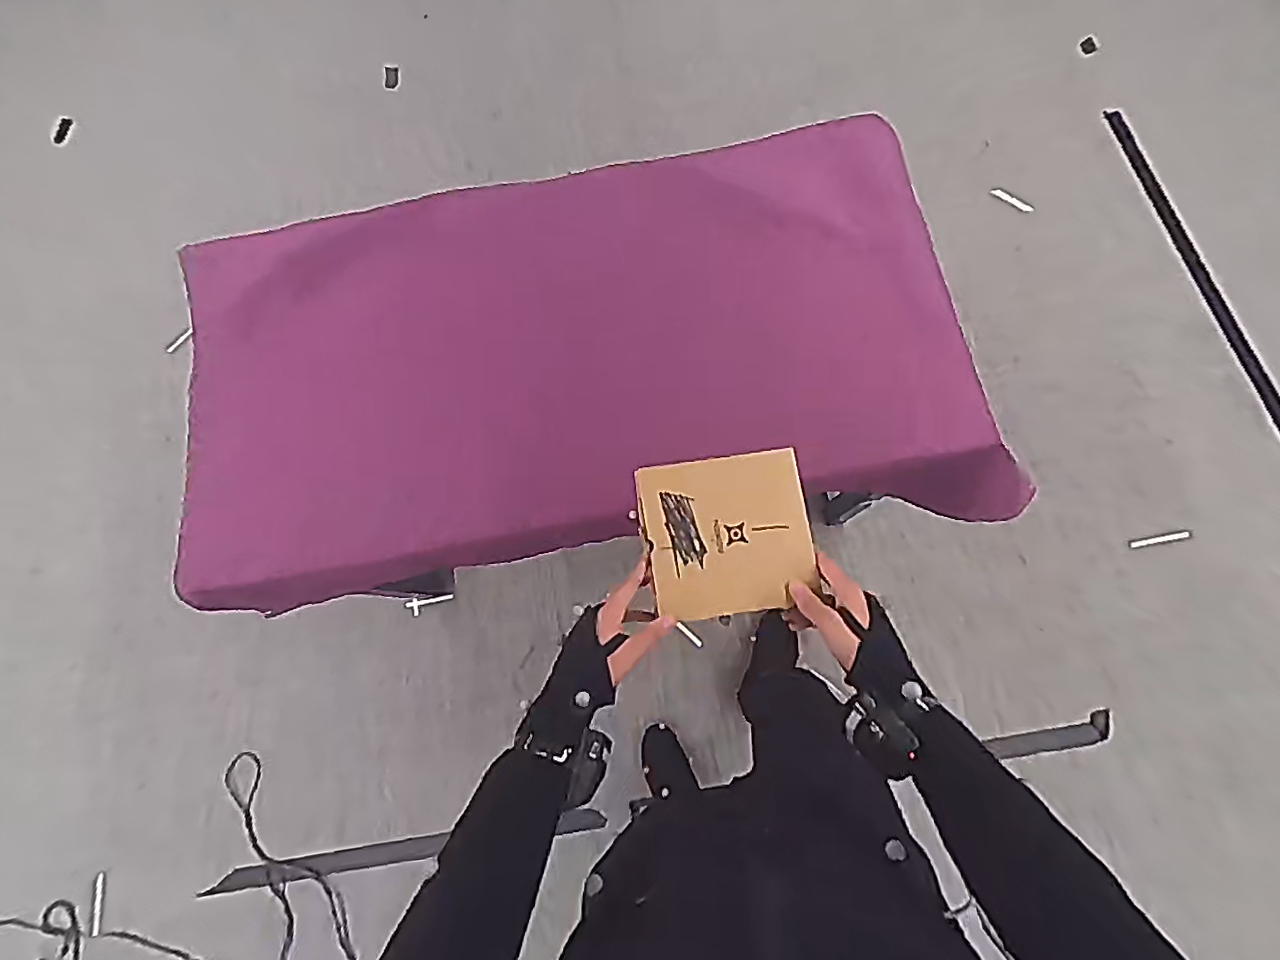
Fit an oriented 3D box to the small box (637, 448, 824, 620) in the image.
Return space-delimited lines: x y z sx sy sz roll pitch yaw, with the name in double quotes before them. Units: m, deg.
"small box" 0.095 0.070 0.645 0.179 0.176 0.168 -8 80 -1
